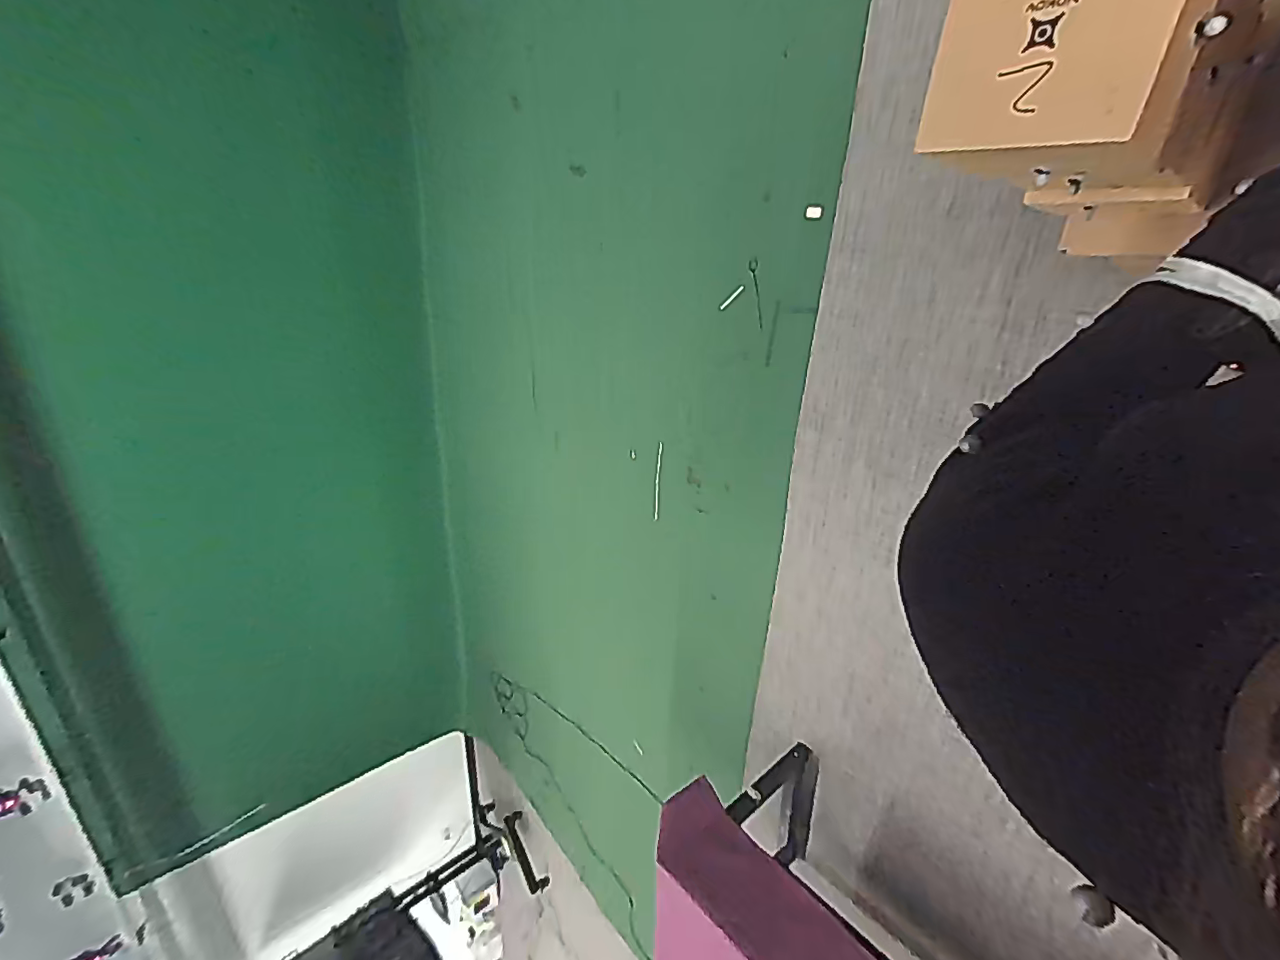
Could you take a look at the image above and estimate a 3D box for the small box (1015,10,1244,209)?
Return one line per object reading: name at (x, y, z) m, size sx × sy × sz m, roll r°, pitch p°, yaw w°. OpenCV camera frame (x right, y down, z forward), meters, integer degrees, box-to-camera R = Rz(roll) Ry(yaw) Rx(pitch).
small box at (0.623, -0.448, 0.691) m, size 0.168 × 0.176 × 0.179 m, roll 26°, pitch 121°, yaw 42°
